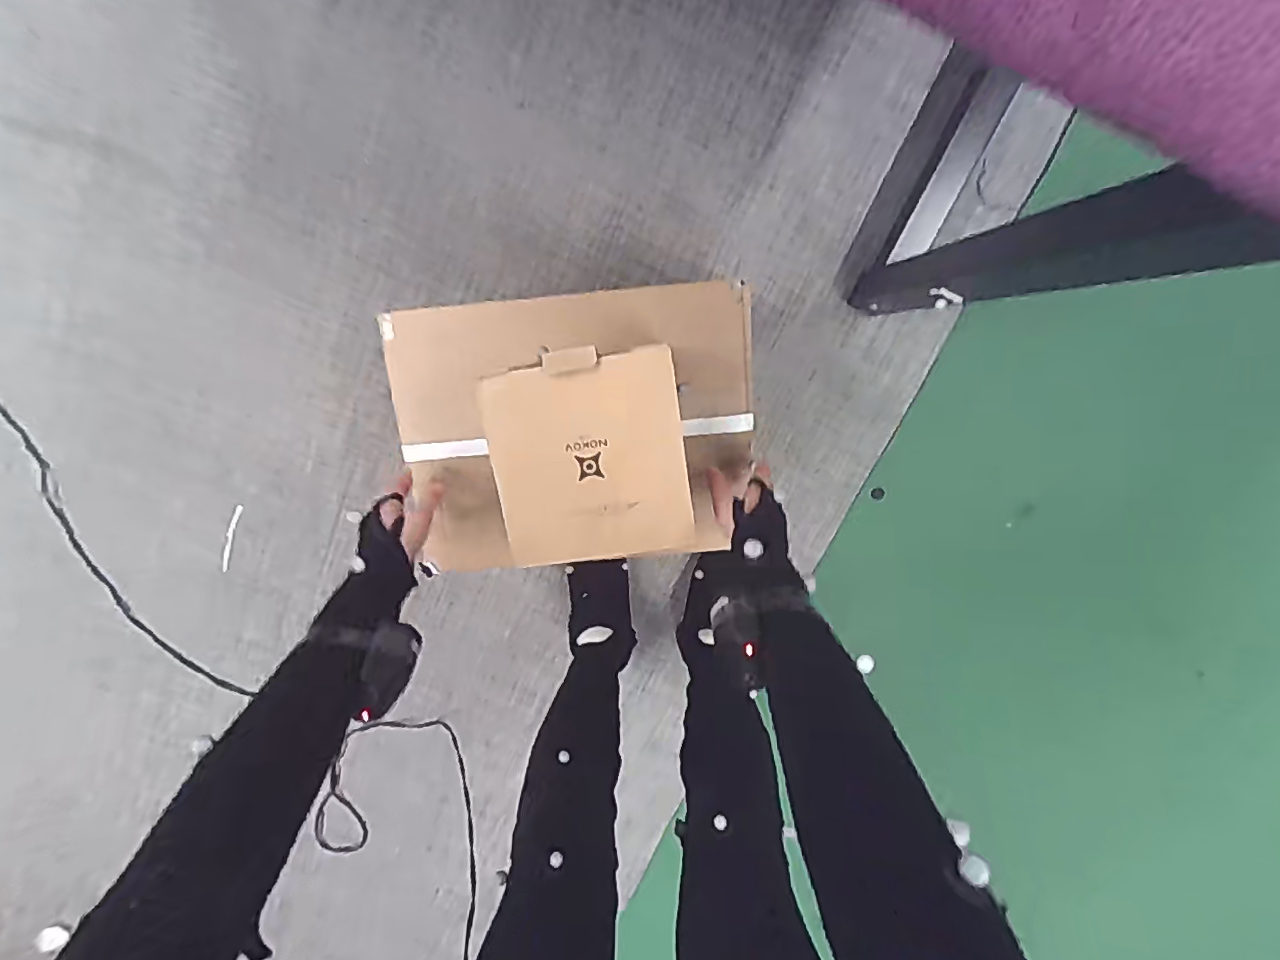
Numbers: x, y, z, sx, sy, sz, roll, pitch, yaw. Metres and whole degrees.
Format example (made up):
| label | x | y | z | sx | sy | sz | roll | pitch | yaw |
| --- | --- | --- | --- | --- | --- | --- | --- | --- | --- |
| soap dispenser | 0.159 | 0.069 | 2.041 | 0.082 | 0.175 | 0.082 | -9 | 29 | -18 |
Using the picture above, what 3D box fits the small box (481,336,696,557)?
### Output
| label | x | y | z | sx | sy | sz | roll | pitch | yaw |
| --- | --- | --- | --- | --- | --- | --- | --- | --- | --- |
| small box | -0.041 | -0.041 | 0.538 | 0.168 | 0.176 | 0.179 | -7 | 103 | 3 |
